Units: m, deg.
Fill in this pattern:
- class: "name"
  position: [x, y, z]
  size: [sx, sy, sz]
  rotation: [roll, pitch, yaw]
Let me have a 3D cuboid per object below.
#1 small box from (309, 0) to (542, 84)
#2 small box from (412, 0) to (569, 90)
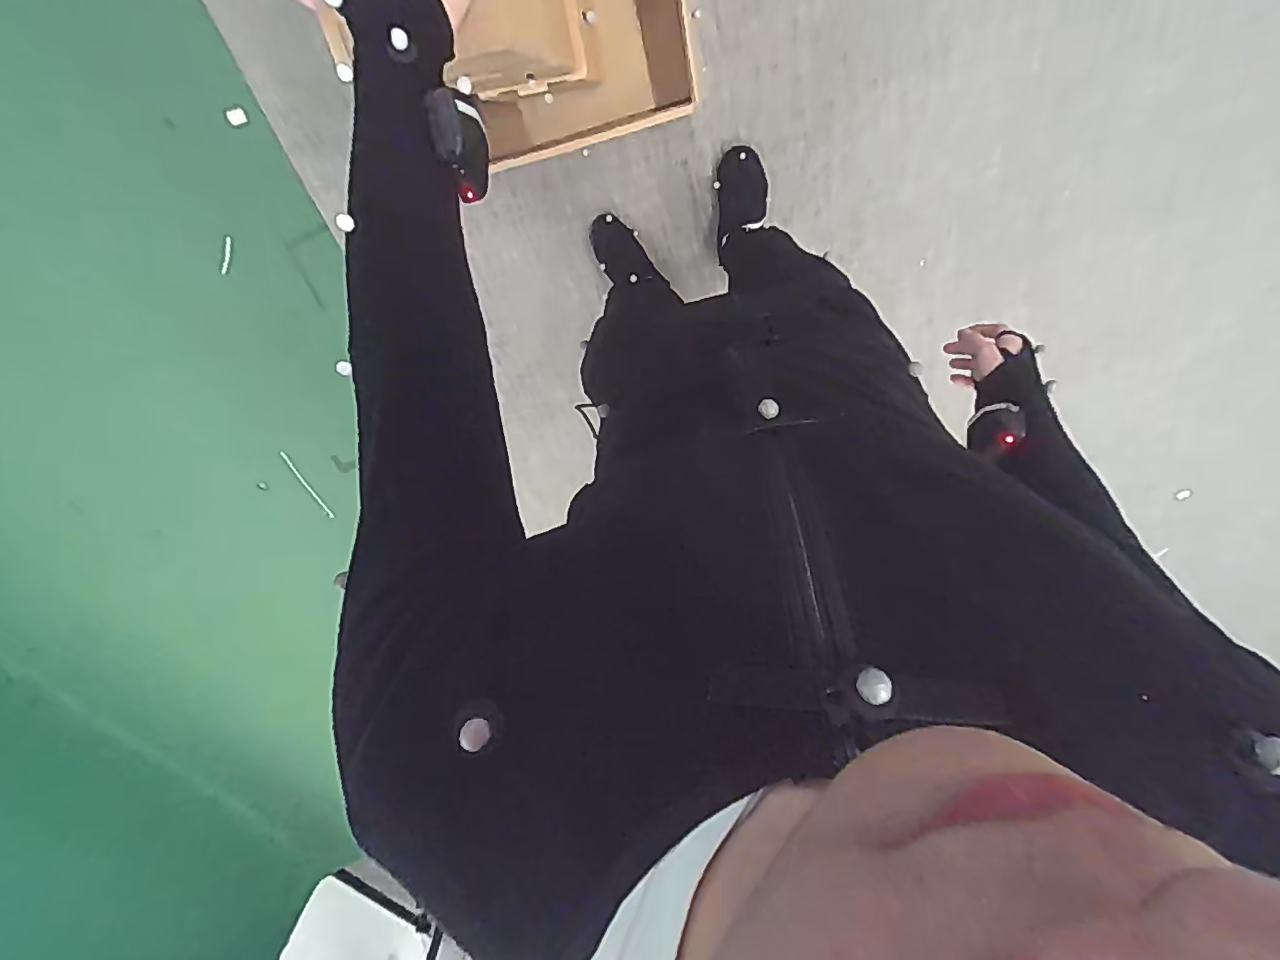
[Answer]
- class: "small box"
  position: [-0.203, -0.490, 0.506]
  size: [0.168, 0.176, 0.179]
  rotation: [-3, 125, 8]
- class: "small box"
  position: [-0.191, -0.581, 0.643]
  size: [0.168, 0.176, 0.179]
  rotation: [-4, 123, 8]
